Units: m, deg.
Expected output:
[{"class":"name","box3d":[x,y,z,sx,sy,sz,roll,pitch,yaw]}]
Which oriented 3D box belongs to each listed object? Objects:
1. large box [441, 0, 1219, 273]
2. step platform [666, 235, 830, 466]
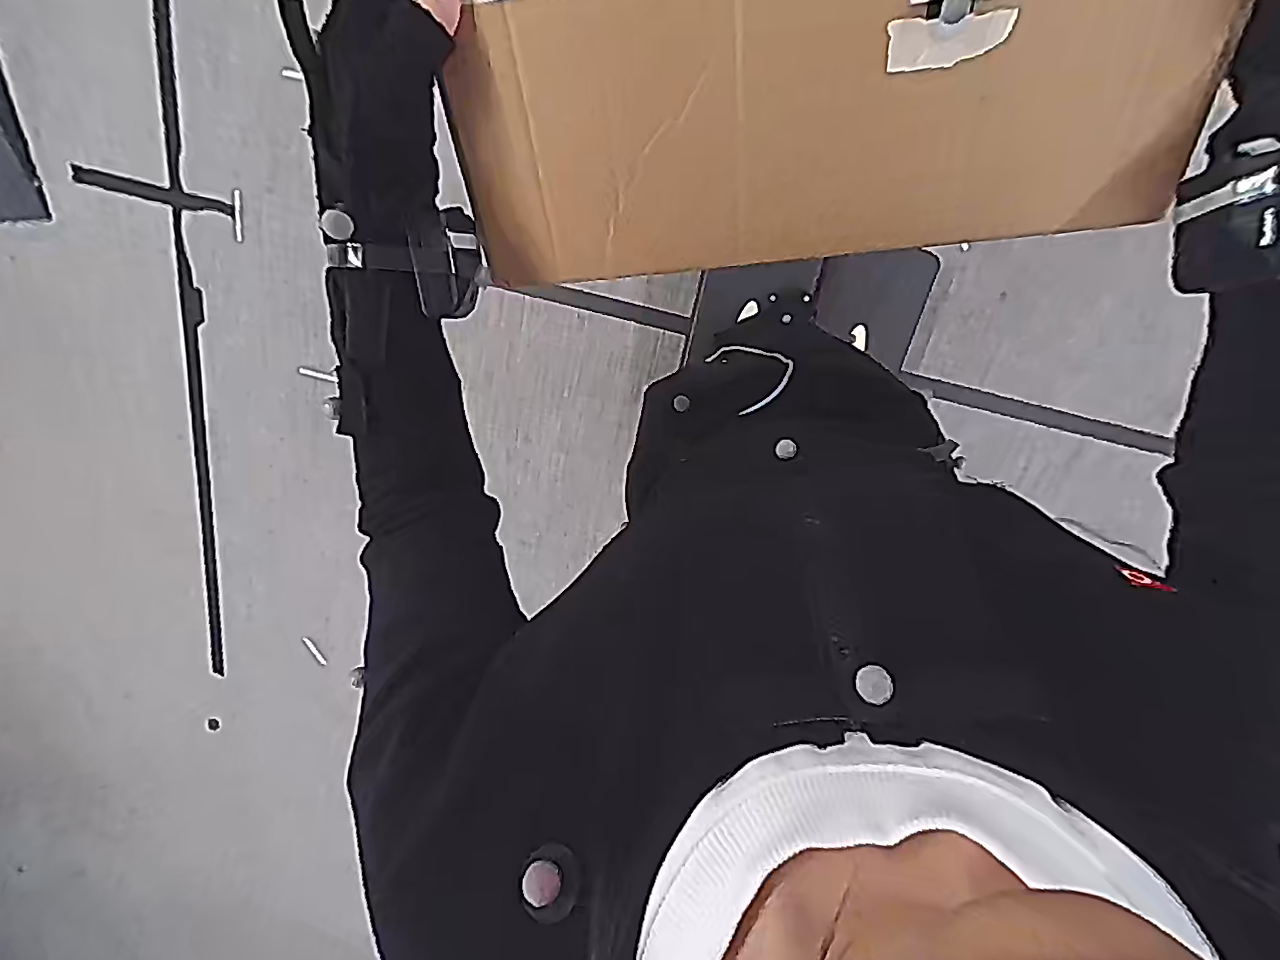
[{"class":"large box","box3d":[0.096,-0.365,0.384,0.408,0.320,0.320,-3,126,8]},{"class":"step platform","box3d":[0.271,-0.381,1.429,0.286,0.204,0.684,13,109,4]}]
